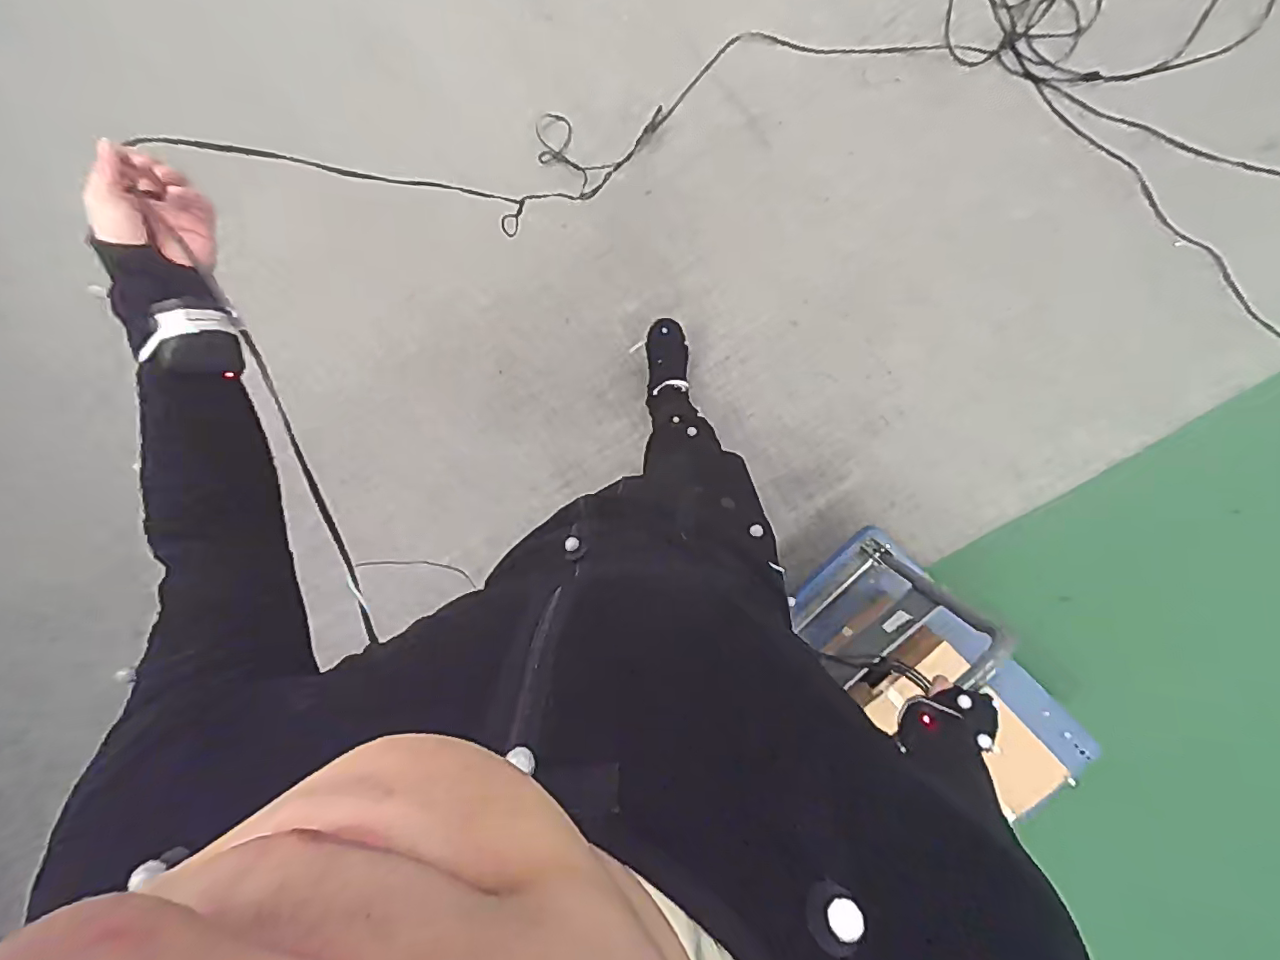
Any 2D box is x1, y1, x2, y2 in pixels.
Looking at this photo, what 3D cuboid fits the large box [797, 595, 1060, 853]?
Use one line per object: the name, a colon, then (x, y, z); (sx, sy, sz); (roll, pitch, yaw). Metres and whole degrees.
large box: (0.653, 0.555, 1.298); (0.320, 0.320, 0.408); (-43, 94, 8)
